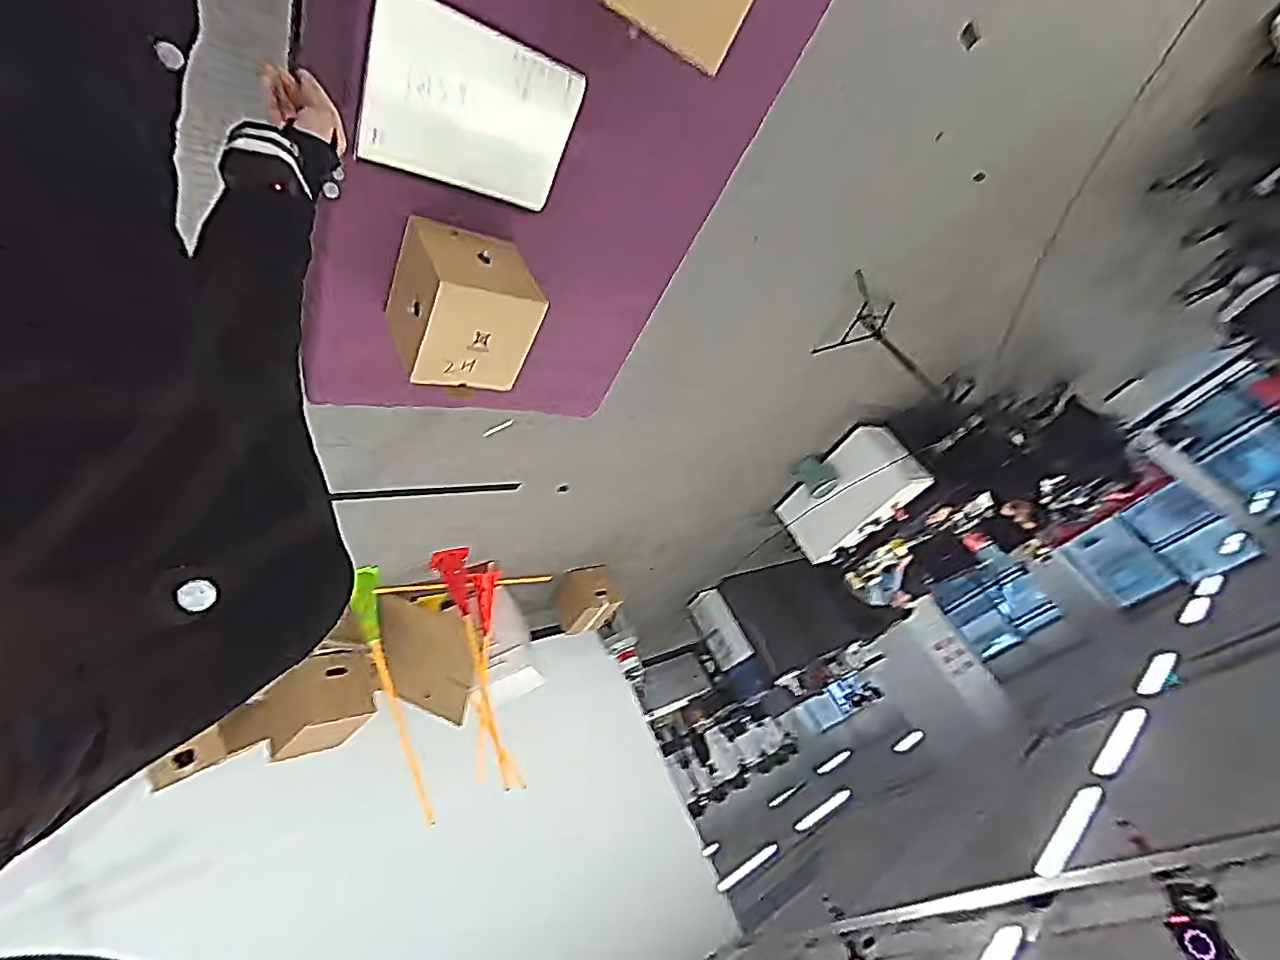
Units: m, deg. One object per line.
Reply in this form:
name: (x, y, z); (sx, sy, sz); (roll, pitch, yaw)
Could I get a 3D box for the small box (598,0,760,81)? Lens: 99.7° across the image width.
small box: (0.030, -0.589, 0.586); (0.179, 0.176, 0.168); (-4, 142, -41)

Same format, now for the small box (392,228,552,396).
small box: (-0.268, -0.256, 0.839); (0.168, 0.176, 0.179); (-2, 141, -41)
